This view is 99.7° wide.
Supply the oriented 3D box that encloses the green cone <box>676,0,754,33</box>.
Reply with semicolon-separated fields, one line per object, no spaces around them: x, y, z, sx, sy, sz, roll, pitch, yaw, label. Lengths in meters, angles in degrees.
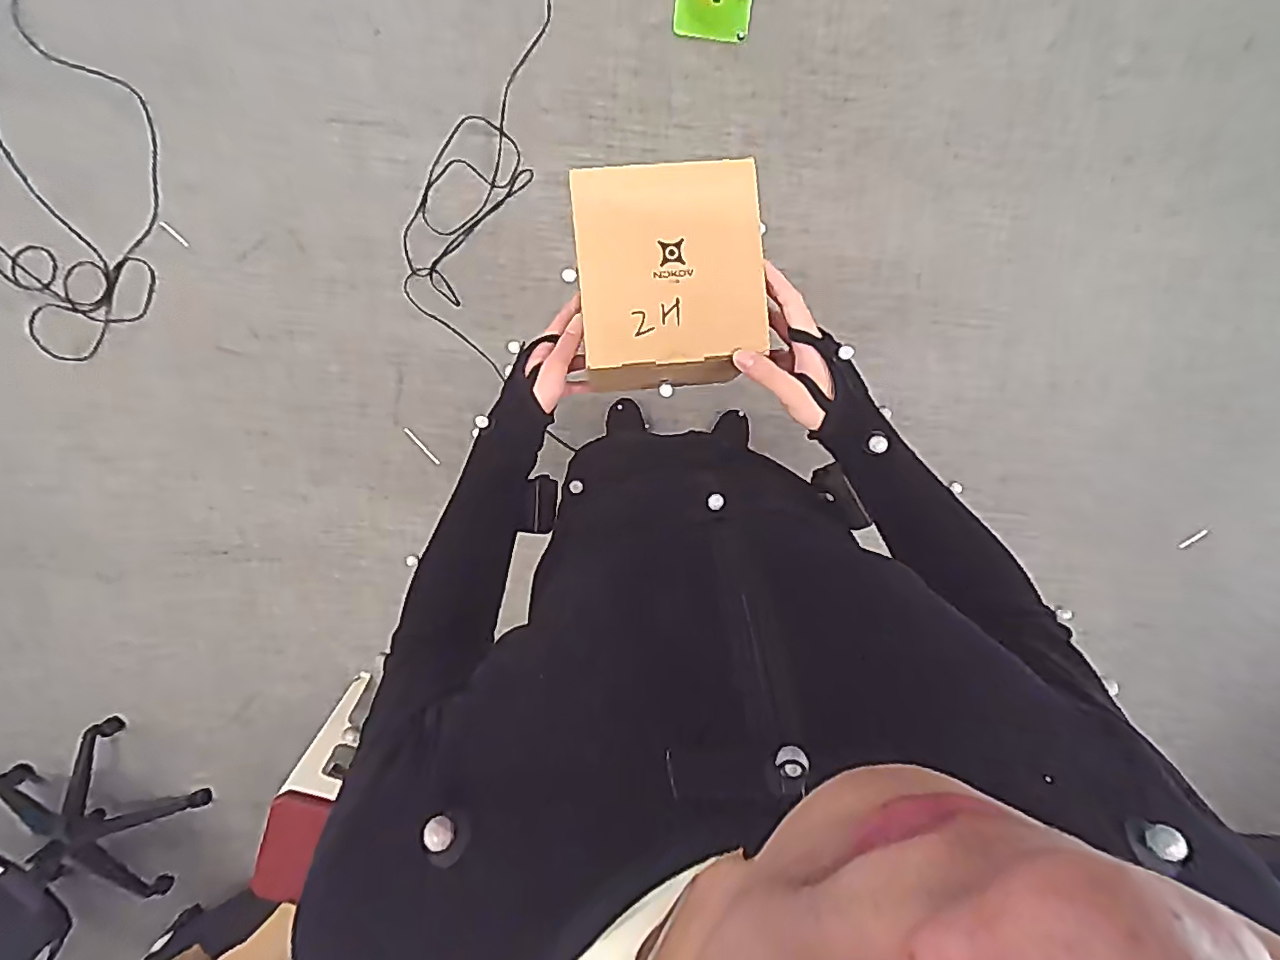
0.199;-1.248;1.227;0.202;0.368;0.200;6;98;-1;green cone
